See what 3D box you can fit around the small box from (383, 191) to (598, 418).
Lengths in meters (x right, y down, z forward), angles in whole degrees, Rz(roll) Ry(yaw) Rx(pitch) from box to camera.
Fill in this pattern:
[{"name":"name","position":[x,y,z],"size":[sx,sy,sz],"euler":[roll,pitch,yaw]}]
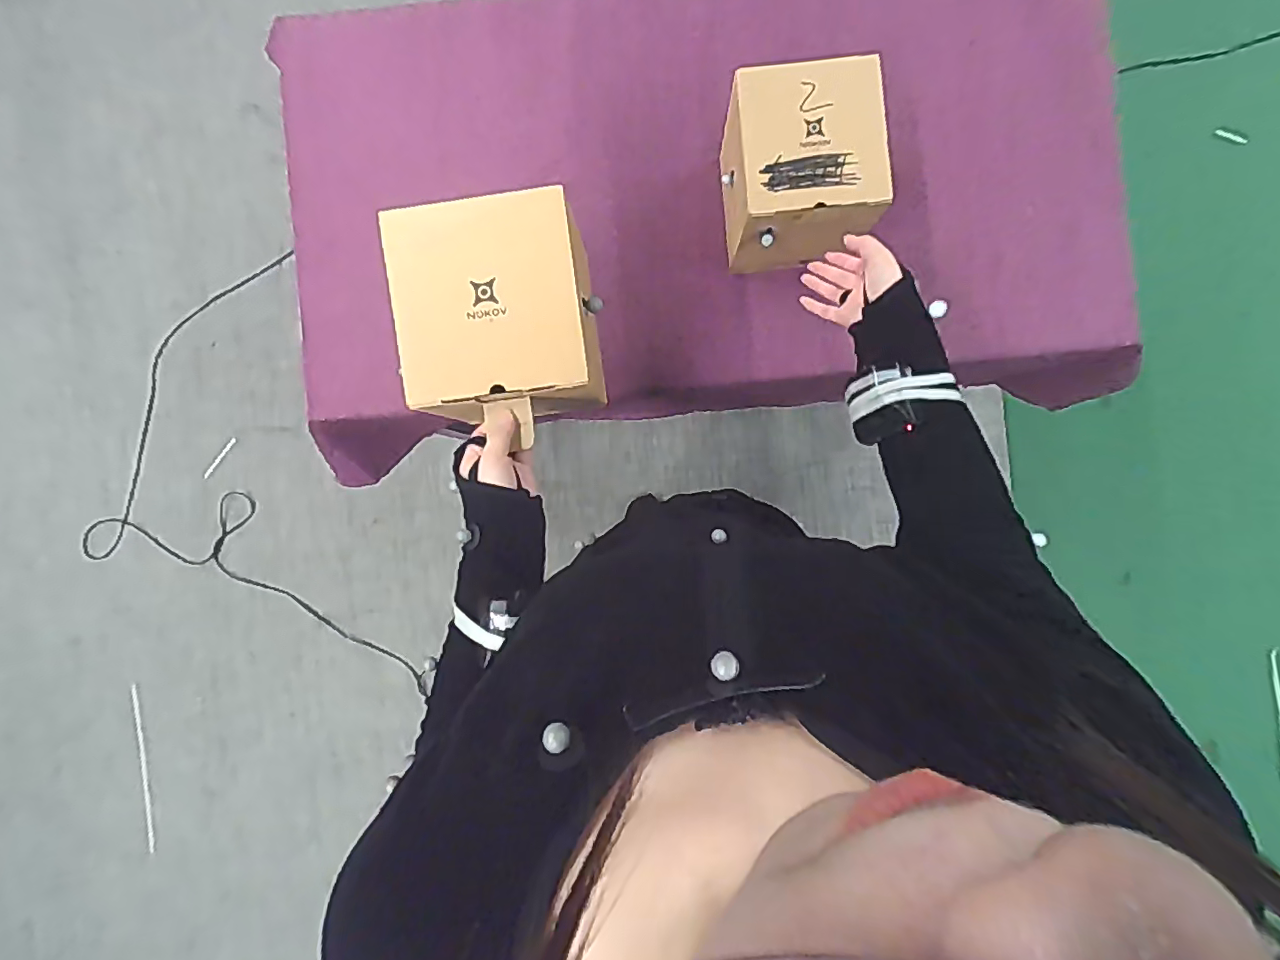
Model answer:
[{"name":"small box","position":[-0.141,-0.167,0.568],"size":[0.168,0.176,0.179],"euler":[-8,92,1]}]
